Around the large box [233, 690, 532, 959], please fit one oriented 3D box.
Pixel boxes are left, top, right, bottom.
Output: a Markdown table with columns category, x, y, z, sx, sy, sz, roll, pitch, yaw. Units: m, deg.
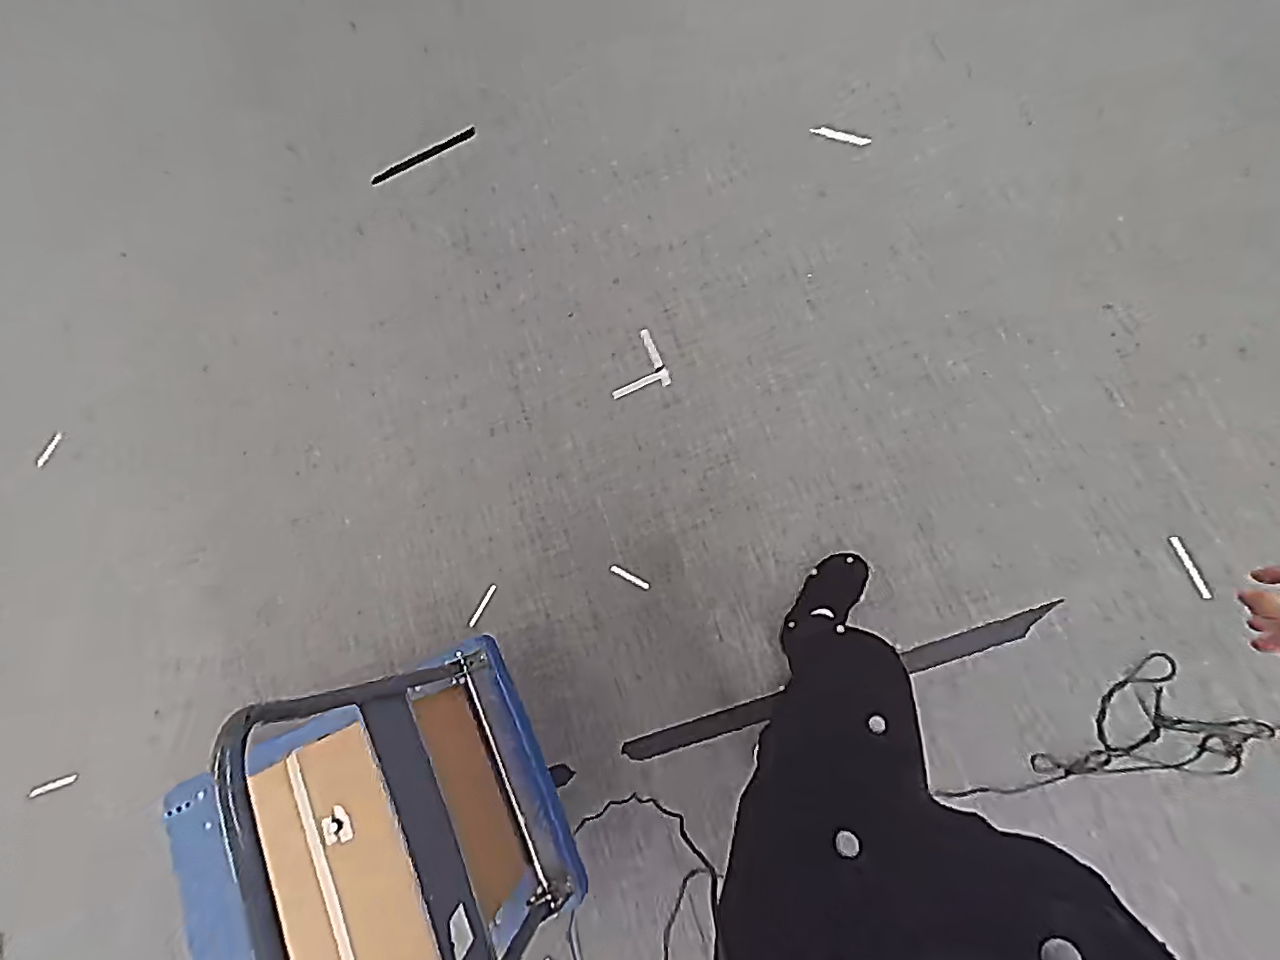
| category | x | y | z | sx | sy | sz | roll | pitch | yaw |
| --- | --- | --- | --- | --- | --- | --- | --- | --- | --- |
| large box | -0.462 | 0.675 | 1.024 | 0.320 | 0.320 | 0.408 | -28 | 75 | 3 |
